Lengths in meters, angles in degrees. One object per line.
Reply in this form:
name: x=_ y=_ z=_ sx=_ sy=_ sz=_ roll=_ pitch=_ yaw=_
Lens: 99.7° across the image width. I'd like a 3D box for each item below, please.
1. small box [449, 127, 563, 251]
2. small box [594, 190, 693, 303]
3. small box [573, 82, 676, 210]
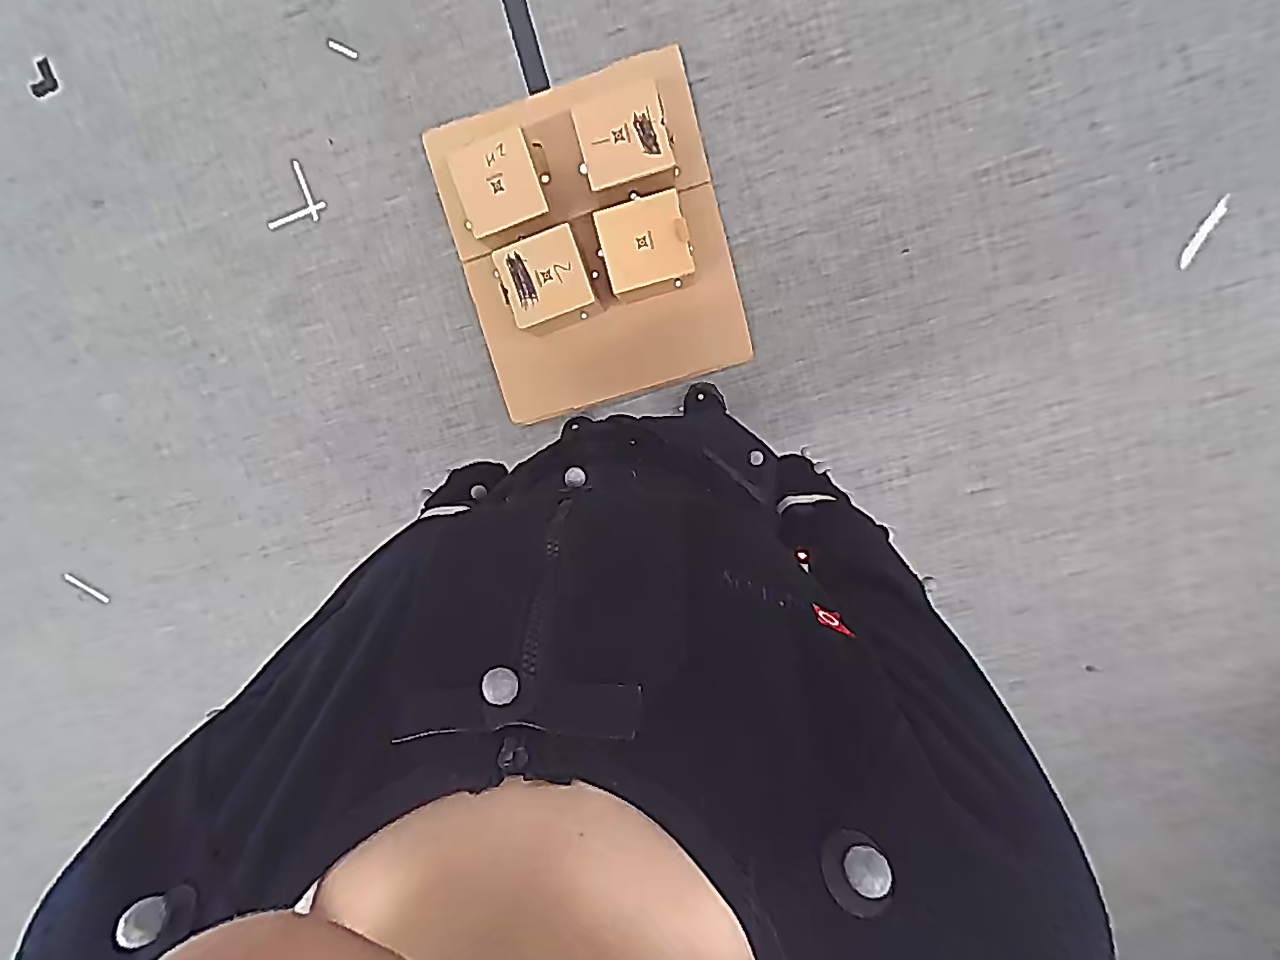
small box: x=-0.280 y=-0.616 z=1.175 sx=0.168 sy=0.176 sz=0.179 roll=-17 pitch=99 yaw=6
small box: x=0.013 y=-0.496 z=1.174 sx=0.179 sy=0.176 sz=0.168 roll=-13 pitch=99 yaw=4
small box: x=-0.027 y=-0.690 z=1.144 sx=0.179 sy=0.176 sz=0.168 roll=-13 pitch=100 yaw=6
